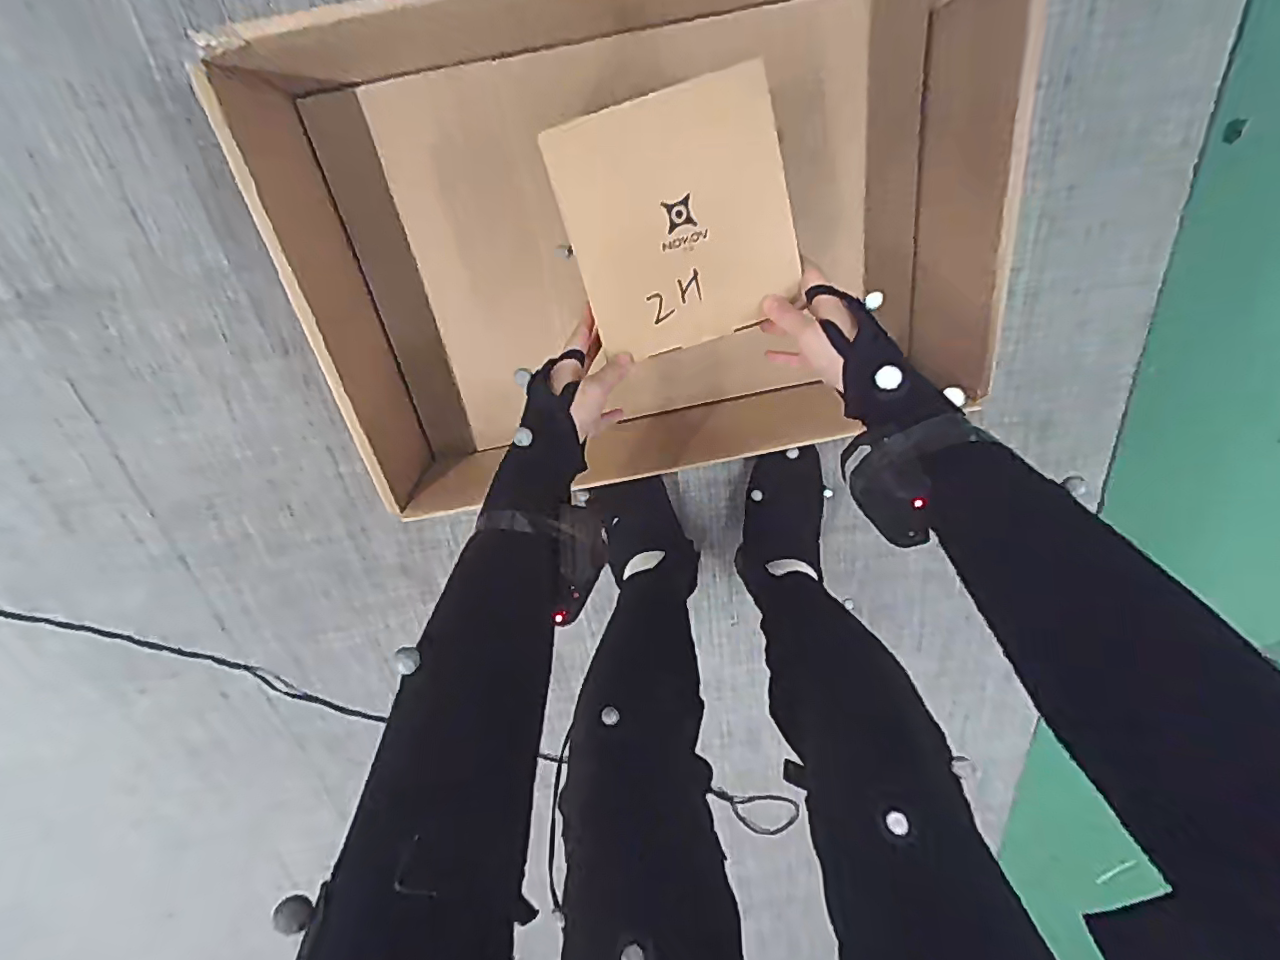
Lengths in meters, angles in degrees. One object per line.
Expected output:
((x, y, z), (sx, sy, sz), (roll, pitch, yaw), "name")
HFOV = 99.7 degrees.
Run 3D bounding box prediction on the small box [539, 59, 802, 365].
((0.023, -0.218, 0.480), (0.168, 0.176, 0.179), (-17, 110, 4), "small box")
